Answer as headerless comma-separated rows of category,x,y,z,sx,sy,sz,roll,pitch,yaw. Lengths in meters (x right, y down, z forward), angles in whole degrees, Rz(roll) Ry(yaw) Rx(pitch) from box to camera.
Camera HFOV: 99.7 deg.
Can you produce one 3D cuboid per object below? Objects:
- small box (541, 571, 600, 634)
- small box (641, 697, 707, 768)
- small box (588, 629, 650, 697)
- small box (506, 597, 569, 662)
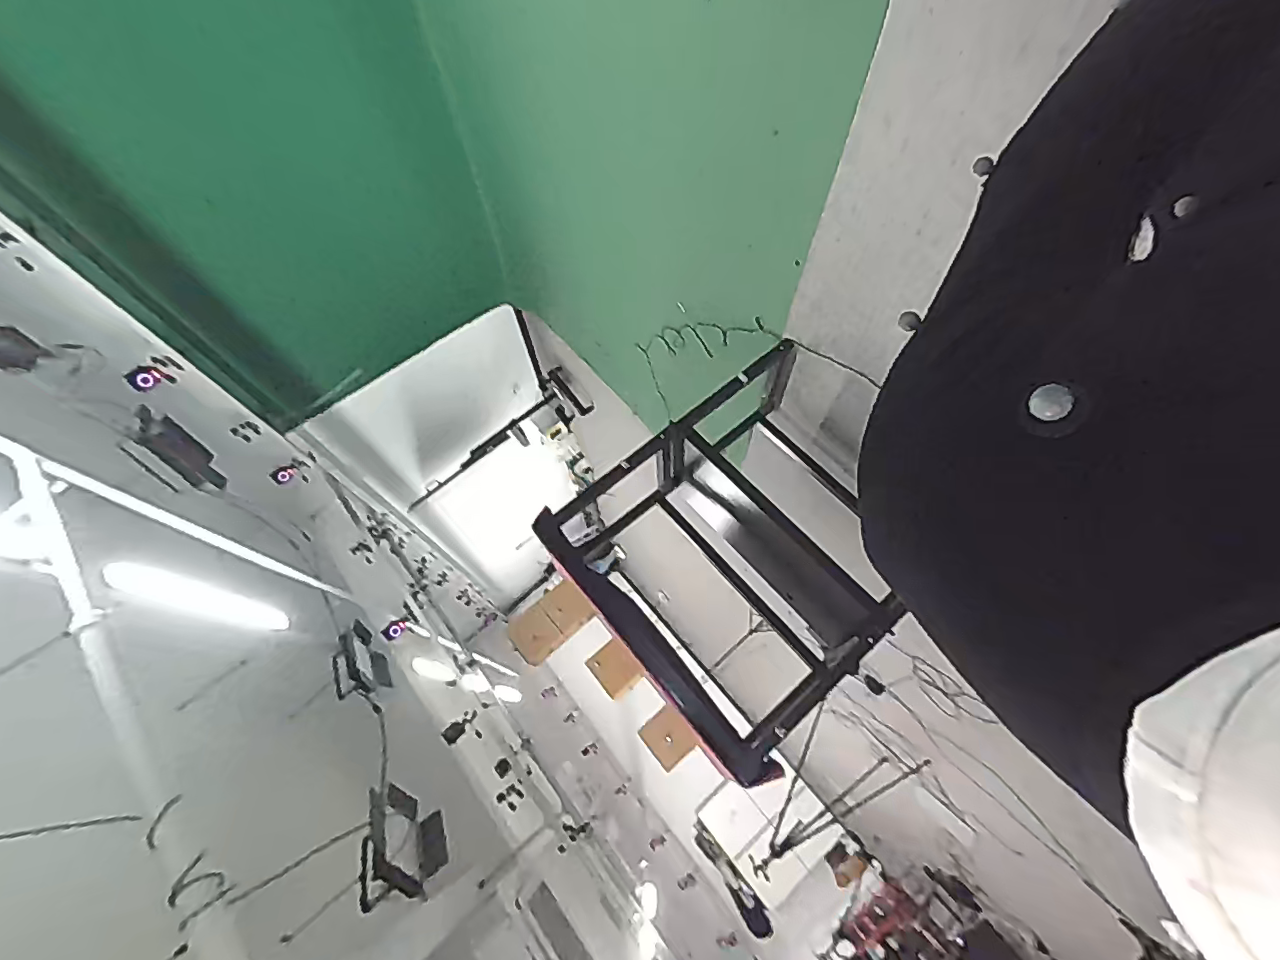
small box,-0.274,0.497,2.193,0.179,0.176,0.168,47,165,17
small box,0.124,0.915,1.971,0.179,0.176,0.168,45,165,23
small box,-0.073,0.708,2.091,0.179,0.176,0.168,47,166,21
small box,-0.398,0.596,2.153,0.179,0.176,0.168,45,164,17
